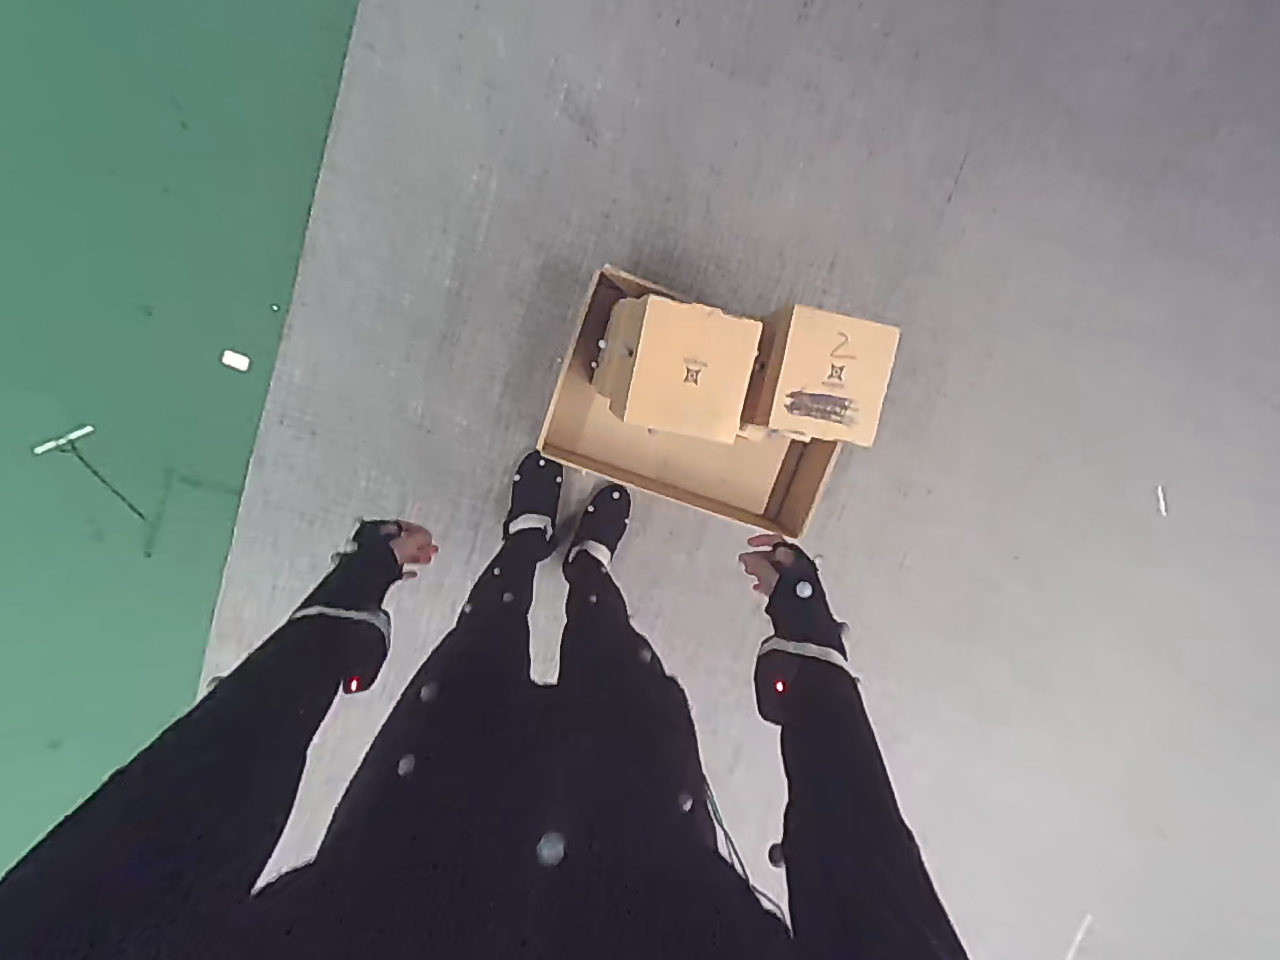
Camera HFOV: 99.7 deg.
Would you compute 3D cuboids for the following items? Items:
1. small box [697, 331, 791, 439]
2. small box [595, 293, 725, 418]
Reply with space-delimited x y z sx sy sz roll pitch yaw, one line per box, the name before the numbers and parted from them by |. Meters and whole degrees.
small box | 0.192 -0.205 1.160 0.168 0.176 0.179 19 99 -9
small box | 0.026 -0.220 0.964 0.179 0.176 0.168 14 100 -11
